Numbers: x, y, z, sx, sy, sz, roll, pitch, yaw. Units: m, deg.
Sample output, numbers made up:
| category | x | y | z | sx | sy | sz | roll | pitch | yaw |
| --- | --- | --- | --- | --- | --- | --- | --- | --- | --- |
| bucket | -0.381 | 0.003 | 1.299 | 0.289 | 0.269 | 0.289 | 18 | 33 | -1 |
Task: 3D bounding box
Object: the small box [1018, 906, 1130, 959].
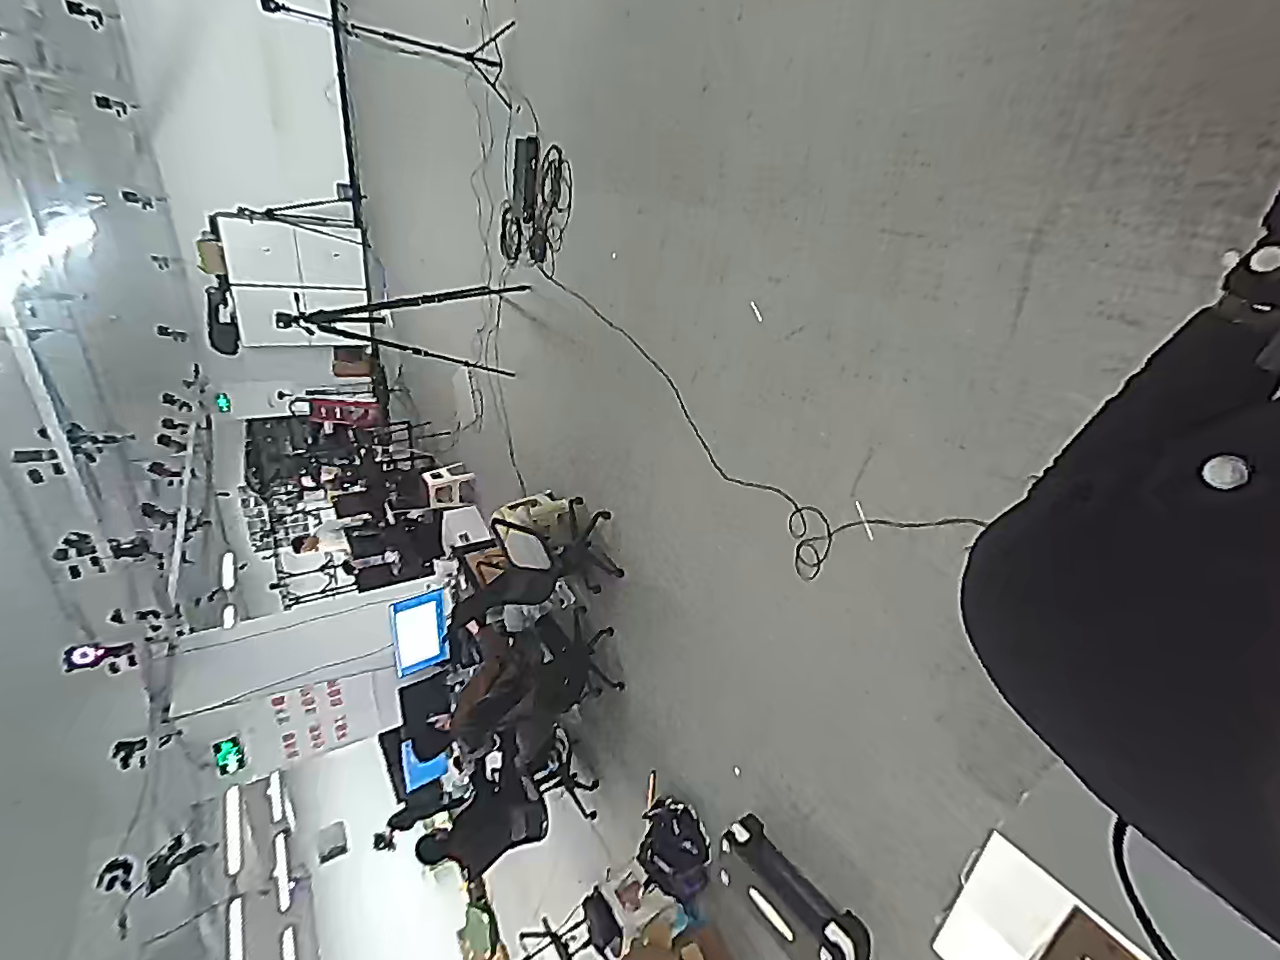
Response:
| category | x | y | z | sx | sy | sz | roll | pitch | yaw |
| --- | --- | --- | --- | --- | --- | --- | --- | --- | --- |
| small box | 0.714 | 0.852 | 0.875 | 0.168 | 0.176 | 0.179 | 38 | 131 | 47 |
